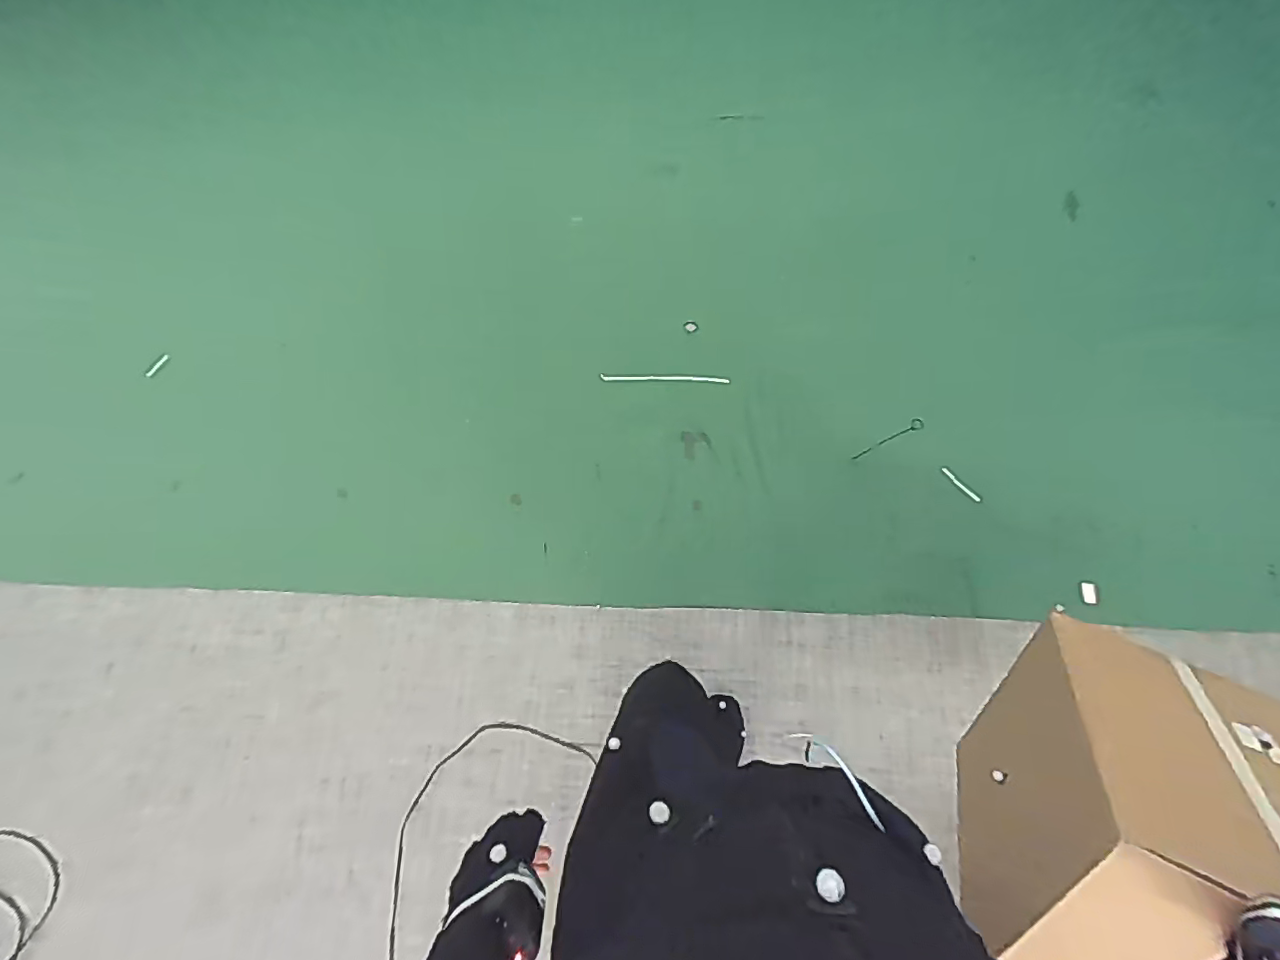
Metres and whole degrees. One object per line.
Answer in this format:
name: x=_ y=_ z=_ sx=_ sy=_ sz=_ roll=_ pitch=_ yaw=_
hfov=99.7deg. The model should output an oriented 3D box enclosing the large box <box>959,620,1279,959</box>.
large box: x=0.633 y=0.461 z=0.674 sx=0.320 sy=0.408 sz=0.320 roll=23 pitch=118 yaw=19
